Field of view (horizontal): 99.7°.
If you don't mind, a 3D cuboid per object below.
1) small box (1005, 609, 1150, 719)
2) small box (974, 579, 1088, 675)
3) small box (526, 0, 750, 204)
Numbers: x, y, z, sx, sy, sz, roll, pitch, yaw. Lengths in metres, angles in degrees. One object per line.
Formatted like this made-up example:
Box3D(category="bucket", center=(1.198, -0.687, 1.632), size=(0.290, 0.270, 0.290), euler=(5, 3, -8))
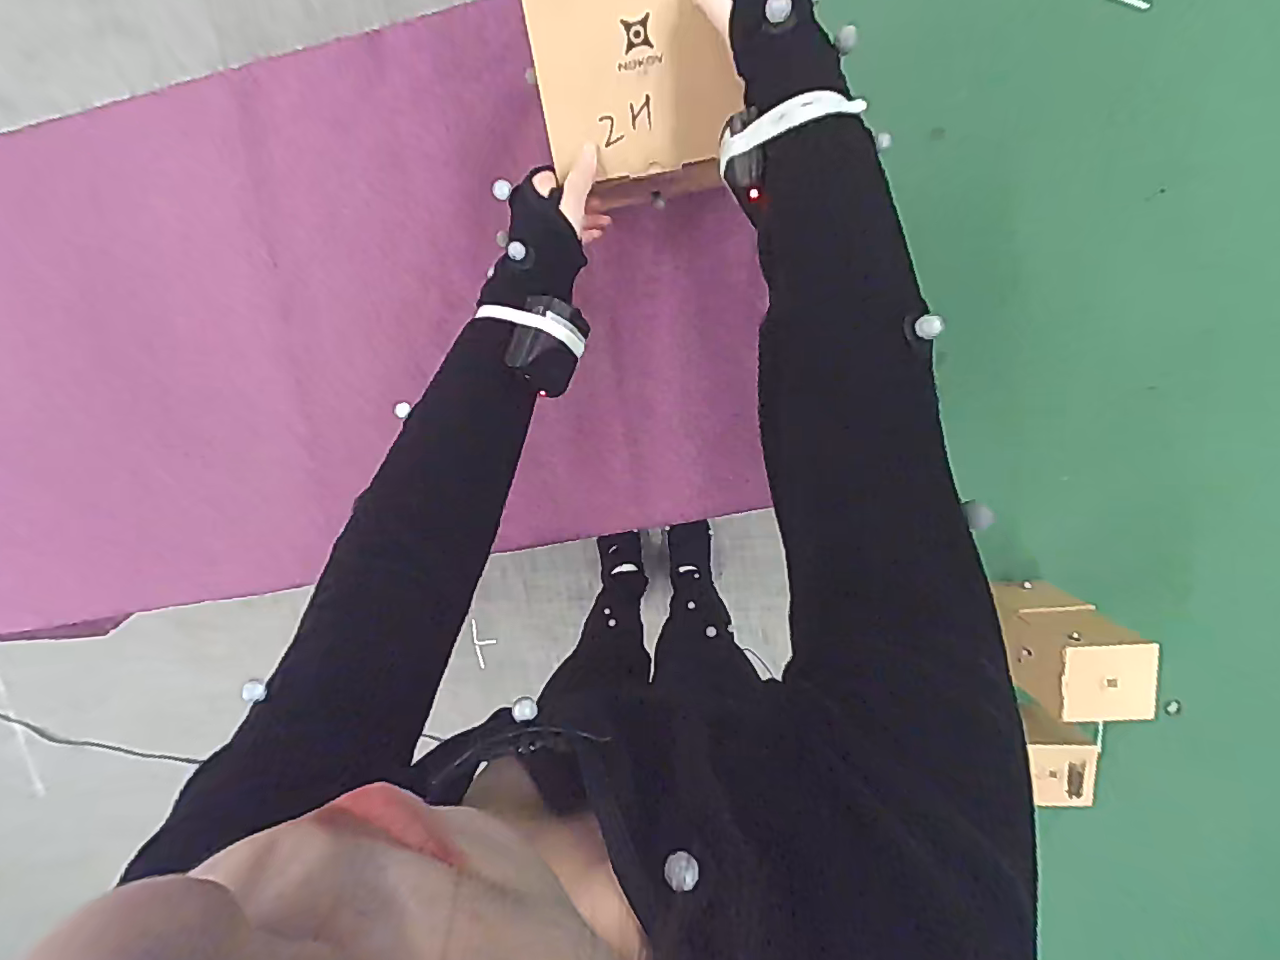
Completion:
Box3D(category="small box", center=(0.925, 0.387, 1.157), size=(0.179, 0.176, 0.168), euler=(-4, 100, 5))
Box3D(category="small box", center=(0.941, 0.355, 1.317), size=(0.168, 0.176, 0.179), euler=(-4, 99, 5))
Box3D(category="small box", center=(0.002, -0.369, 0.492), size=(0.168, 0.176, 0.179), euler=(-7, 111, 7))
